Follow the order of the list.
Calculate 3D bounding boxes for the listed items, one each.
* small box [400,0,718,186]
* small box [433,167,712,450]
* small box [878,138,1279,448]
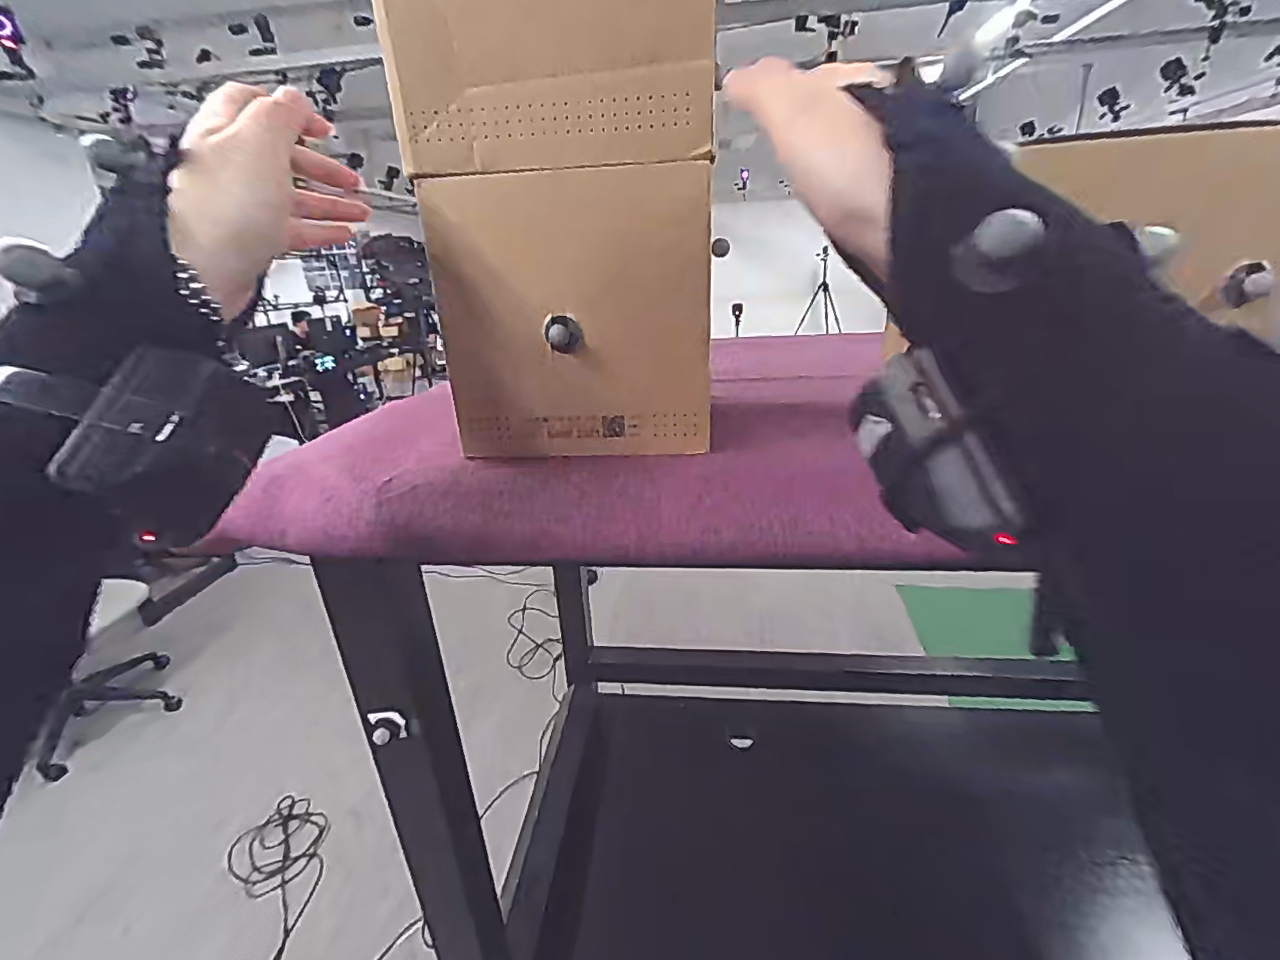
[{"bbox_3d":[-0.042,-0.275,0.351,0.179,0.176,0.168,-1,22,3],"label":"small box"},{"bbox_3d":[-0.030,-0.125,0.412,0.168,0.176,0.179,0,21,5],"label":"small box"},{"bbox_3d":[0.290,-0.126,0.386,0.179,0.176,0.168,-2,21,6],"label":"small box"}]
